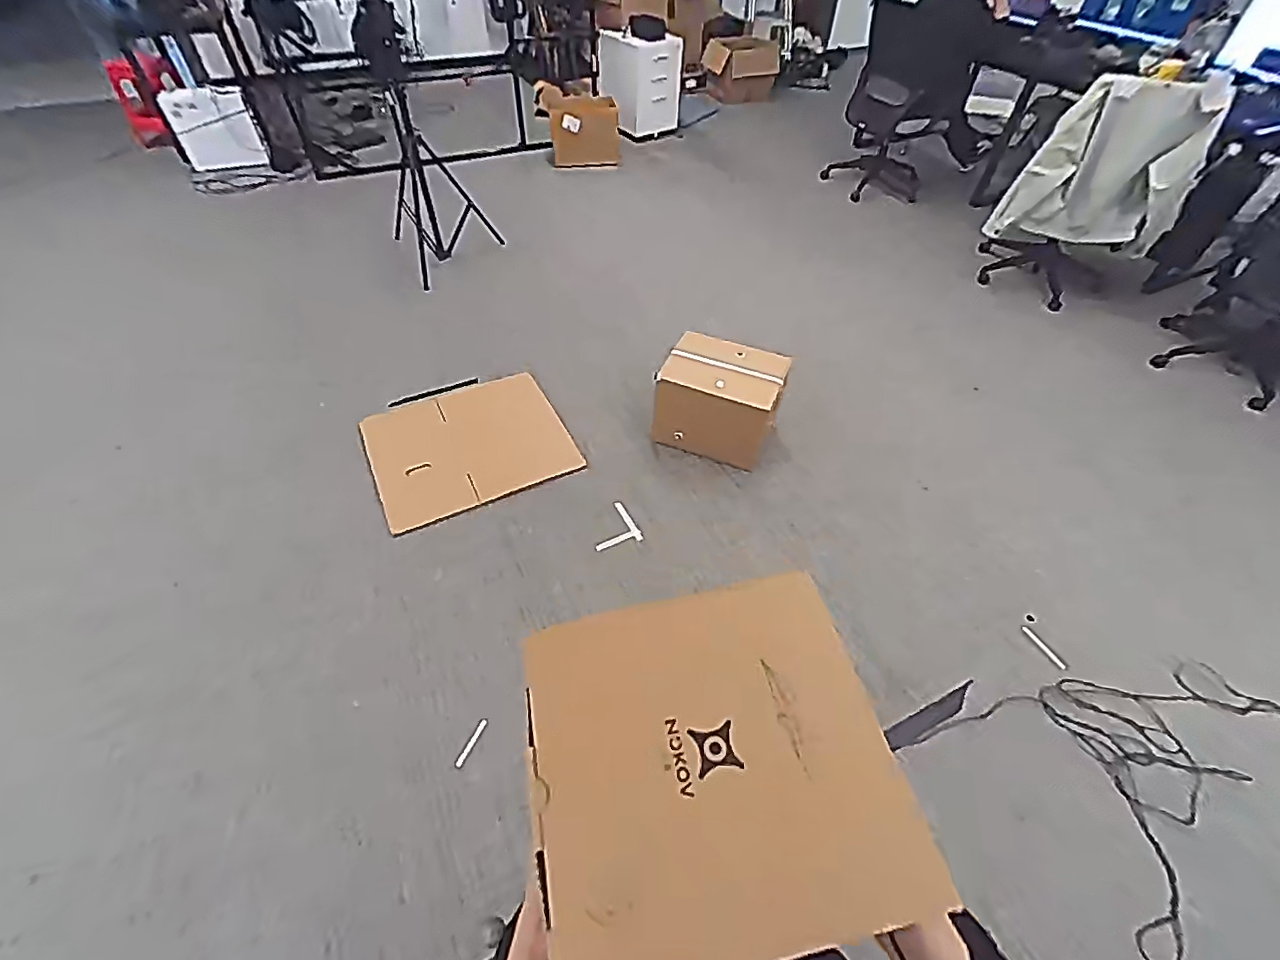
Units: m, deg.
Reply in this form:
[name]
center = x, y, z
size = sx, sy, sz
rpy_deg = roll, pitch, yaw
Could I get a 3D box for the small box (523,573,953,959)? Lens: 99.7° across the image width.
[small box]
center = 0.038, 0.183, 0.332
size = 0.179, 0.176, 0.168
rpy_deg = -11, 53, -6
